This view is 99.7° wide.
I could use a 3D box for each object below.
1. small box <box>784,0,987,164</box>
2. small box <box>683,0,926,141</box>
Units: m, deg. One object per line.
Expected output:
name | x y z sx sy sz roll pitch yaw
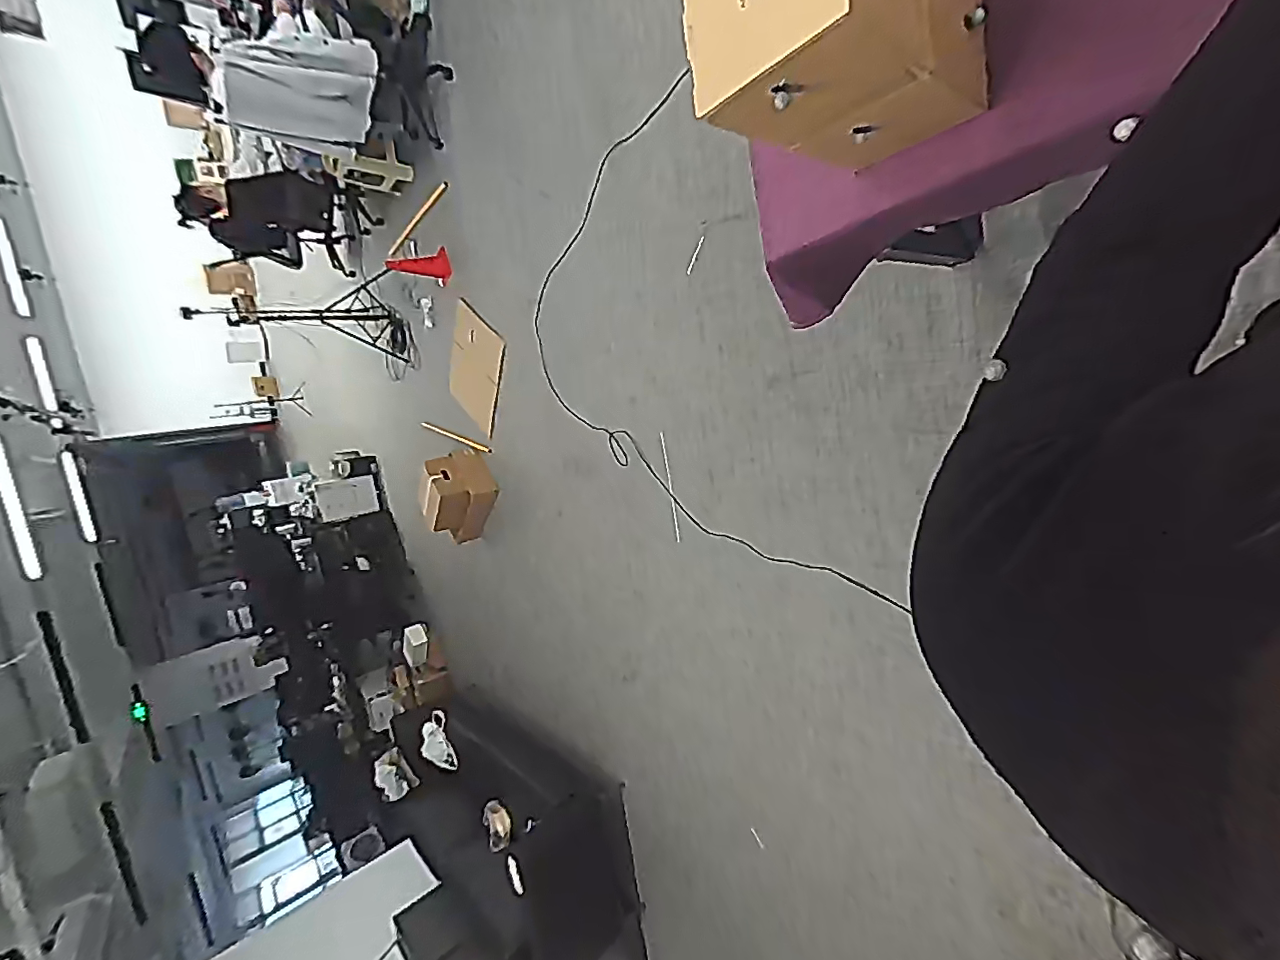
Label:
small box | 0.286 -0.507 0.647 0.179 0.176 0.168 1 103 50
small box | 0.166 -0.474 0.541 0.179 0.176 0.168 0 102 51
